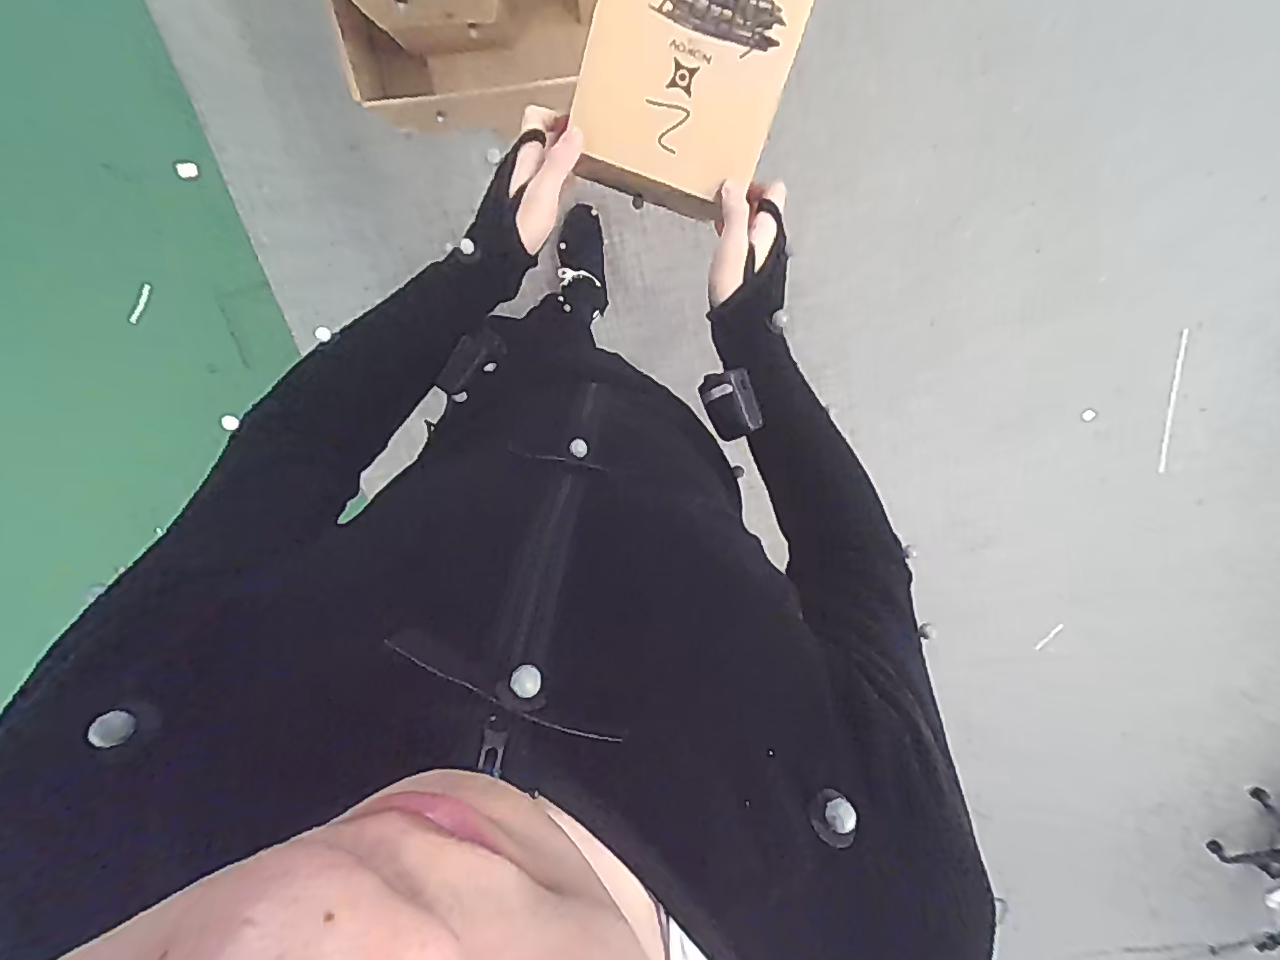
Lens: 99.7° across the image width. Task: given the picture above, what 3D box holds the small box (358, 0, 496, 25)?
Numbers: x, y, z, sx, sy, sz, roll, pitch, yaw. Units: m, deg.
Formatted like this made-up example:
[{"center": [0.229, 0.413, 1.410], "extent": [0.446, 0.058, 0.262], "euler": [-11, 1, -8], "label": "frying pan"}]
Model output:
[{"center": [-0.281, -0.687, 0.657], "extent": [0.168, 0.176, 0.179], "euler": [-5, 113, -2], "label": "small box"}]
